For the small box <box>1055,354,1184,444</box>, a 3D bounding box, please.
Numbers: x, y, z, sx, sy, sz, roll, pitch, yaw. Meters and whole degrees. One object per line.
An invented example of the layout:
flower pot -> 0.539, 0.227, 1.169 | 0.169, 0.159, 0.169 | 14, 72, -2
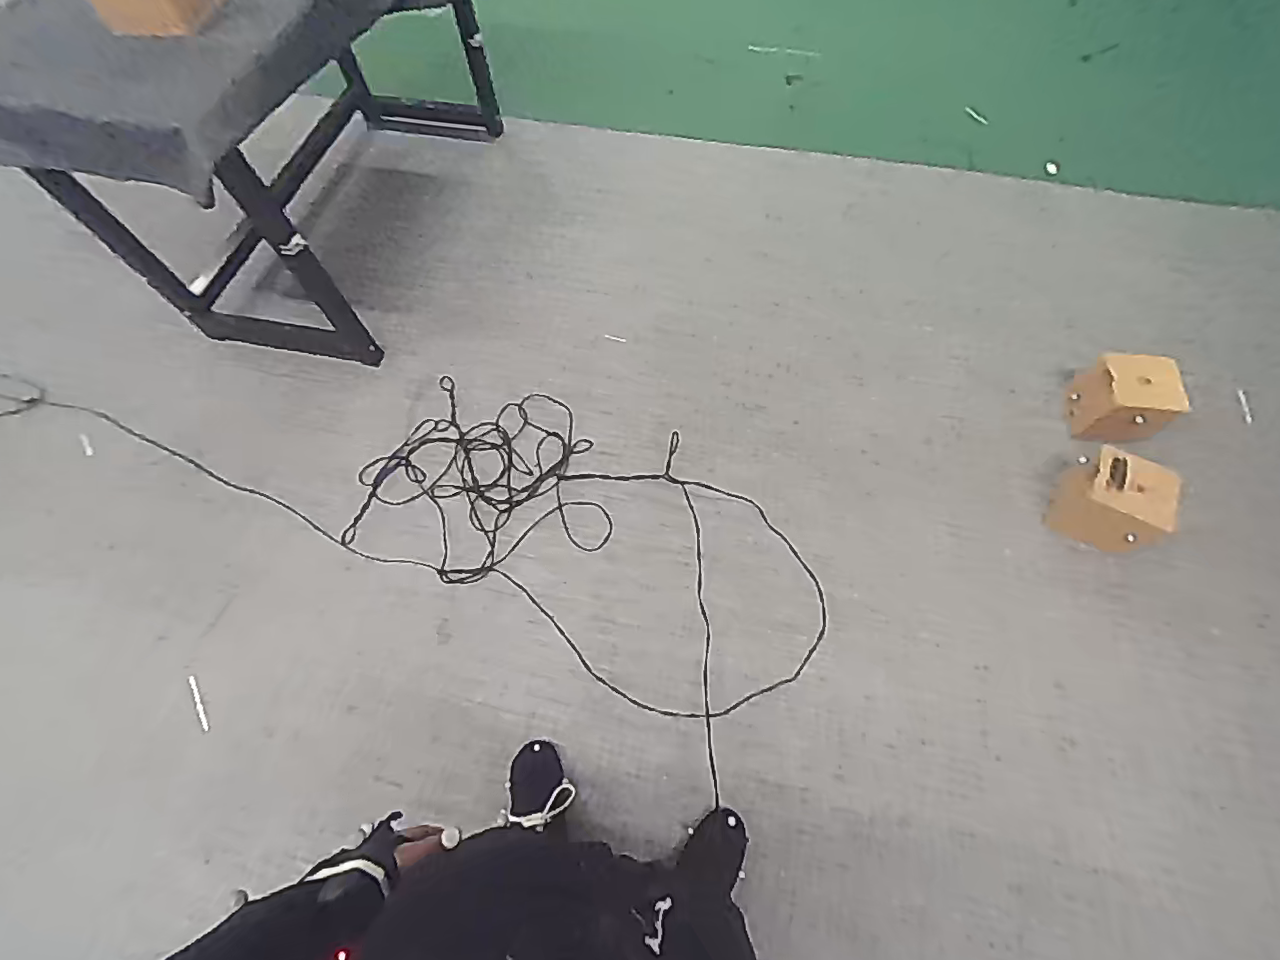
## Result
small box -> 1.253, -0.209, 1.427 | 0.179, 0.176, 0.168 | 6, 64, 5

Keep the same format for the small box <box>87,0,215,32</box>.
small box -> -0.976, -1.002, 1.043 | 0.179, 0.176, 0.168 | 3, 63, 4
